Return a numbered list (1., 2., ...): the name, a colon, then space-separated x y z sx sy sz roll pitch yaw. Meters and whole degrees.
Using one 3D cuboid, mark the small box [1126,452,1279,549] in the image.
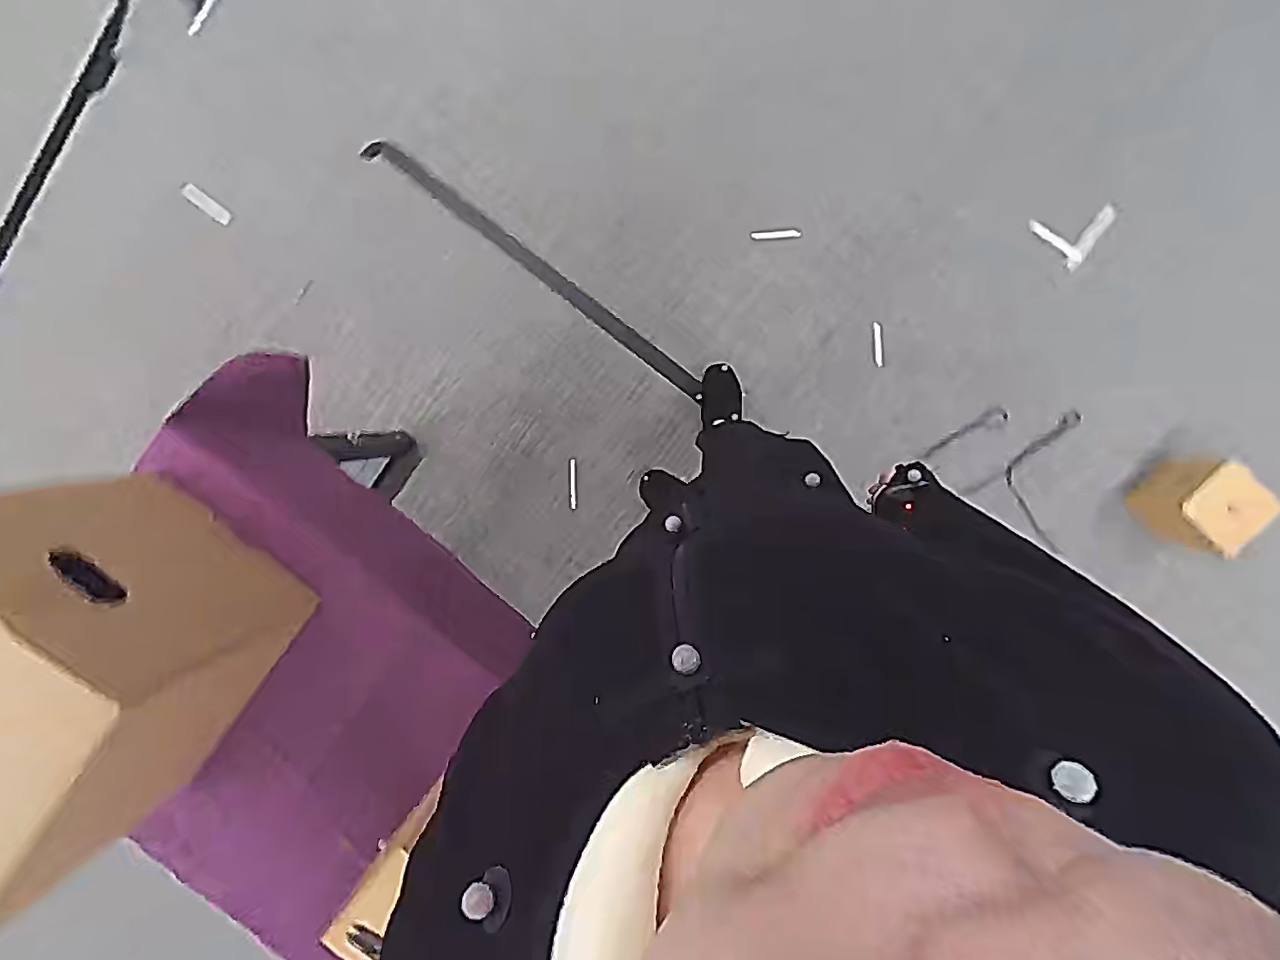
1. small box: 1.398 0.046 1.356 0.179 0.176 0.168 42 95 -2
